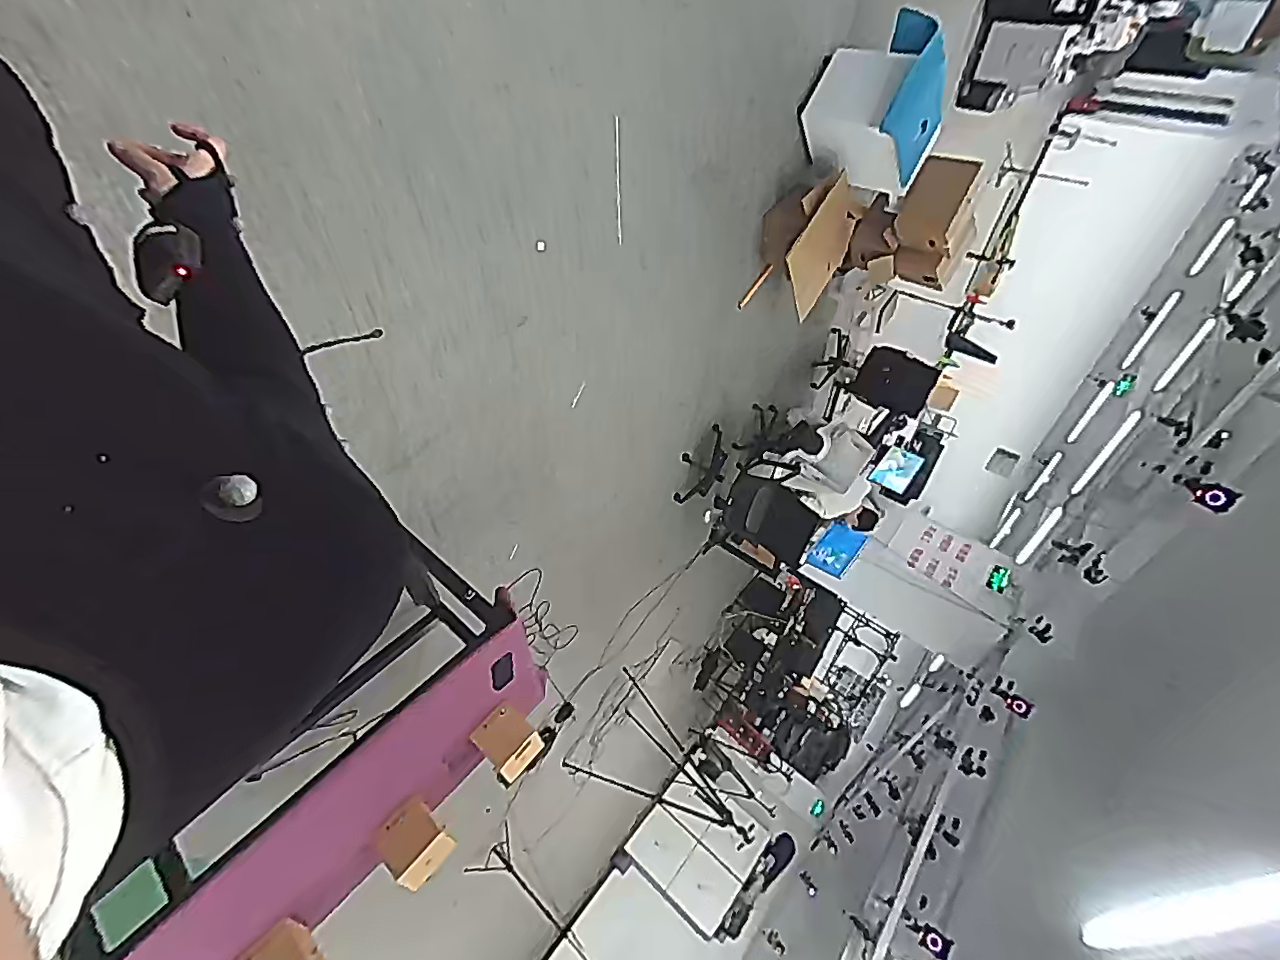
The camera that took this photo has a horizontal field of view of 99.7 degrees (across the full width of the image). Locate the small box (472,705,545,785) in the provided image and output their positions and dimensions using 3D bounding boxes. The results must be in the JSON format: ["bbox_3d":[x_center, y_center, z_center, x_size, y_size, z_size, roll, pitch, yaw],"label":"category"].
[{"bbox_3d":[-0.462,0.921,1.893,0.168,0.176,0.179,-42,148,-29],"label":"small box"}]

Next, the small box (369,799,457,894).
[{"bbox_3d":[-0.713,1.150,1.704,0.168,0.176,0.179,-41,147,-33],"label":"small box"}]

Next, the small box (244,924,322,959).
[{"bbox_3d":[-0.977,1.357,1.466,0.168,0.176,0.179,-39,147,-36],"label":"small box"}]
